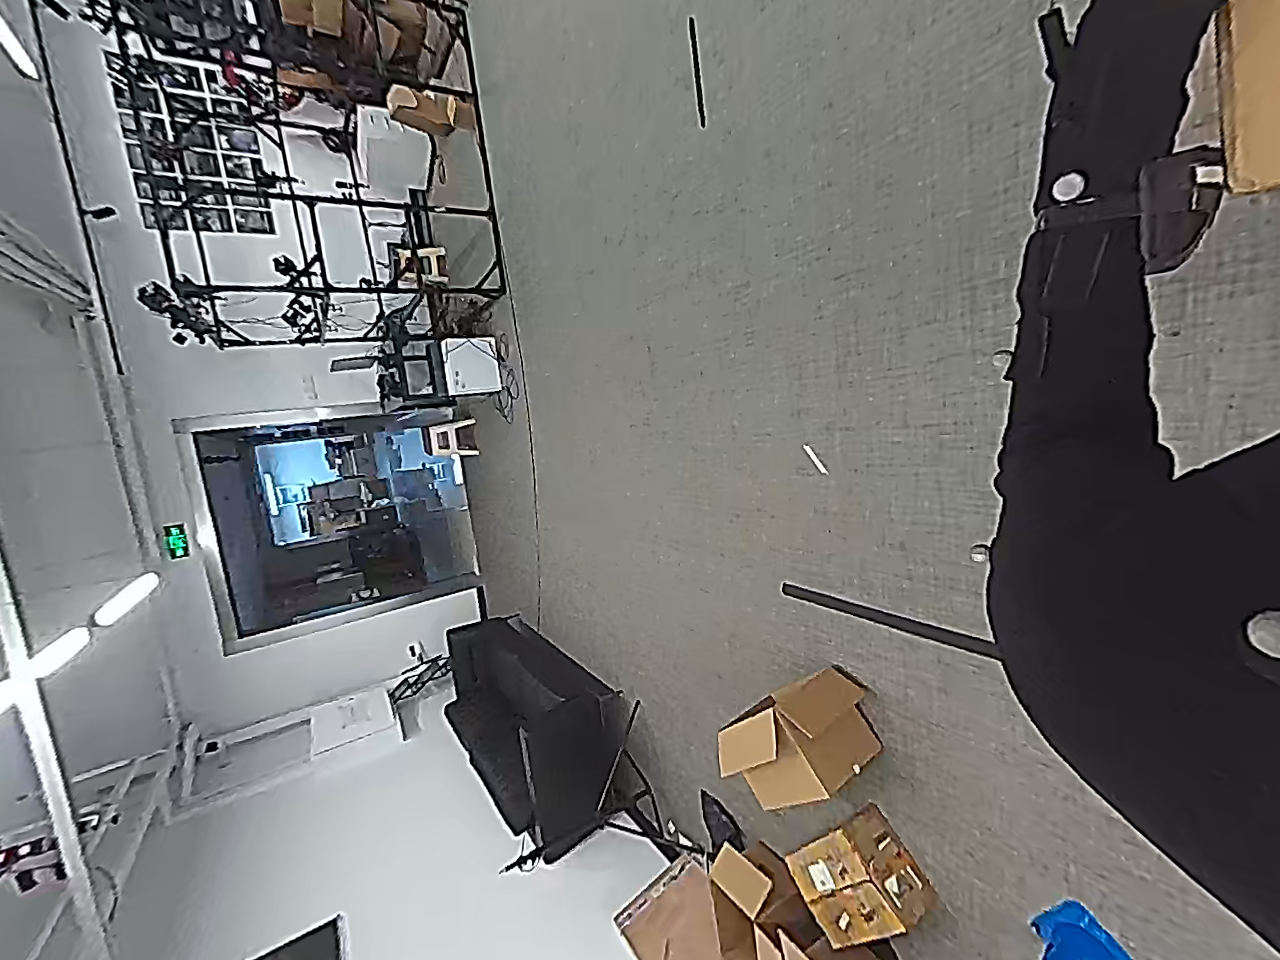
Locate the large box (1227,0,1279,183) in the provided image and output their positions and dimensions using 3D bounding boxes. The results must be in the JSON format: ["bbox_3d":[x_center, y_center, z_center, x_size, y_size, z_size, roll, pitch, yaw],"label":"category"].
[{"bbox_3d":[0.540,-0.357,0.198,0.408,0.320,0.320,2,108,60],"label":"large box"}]
